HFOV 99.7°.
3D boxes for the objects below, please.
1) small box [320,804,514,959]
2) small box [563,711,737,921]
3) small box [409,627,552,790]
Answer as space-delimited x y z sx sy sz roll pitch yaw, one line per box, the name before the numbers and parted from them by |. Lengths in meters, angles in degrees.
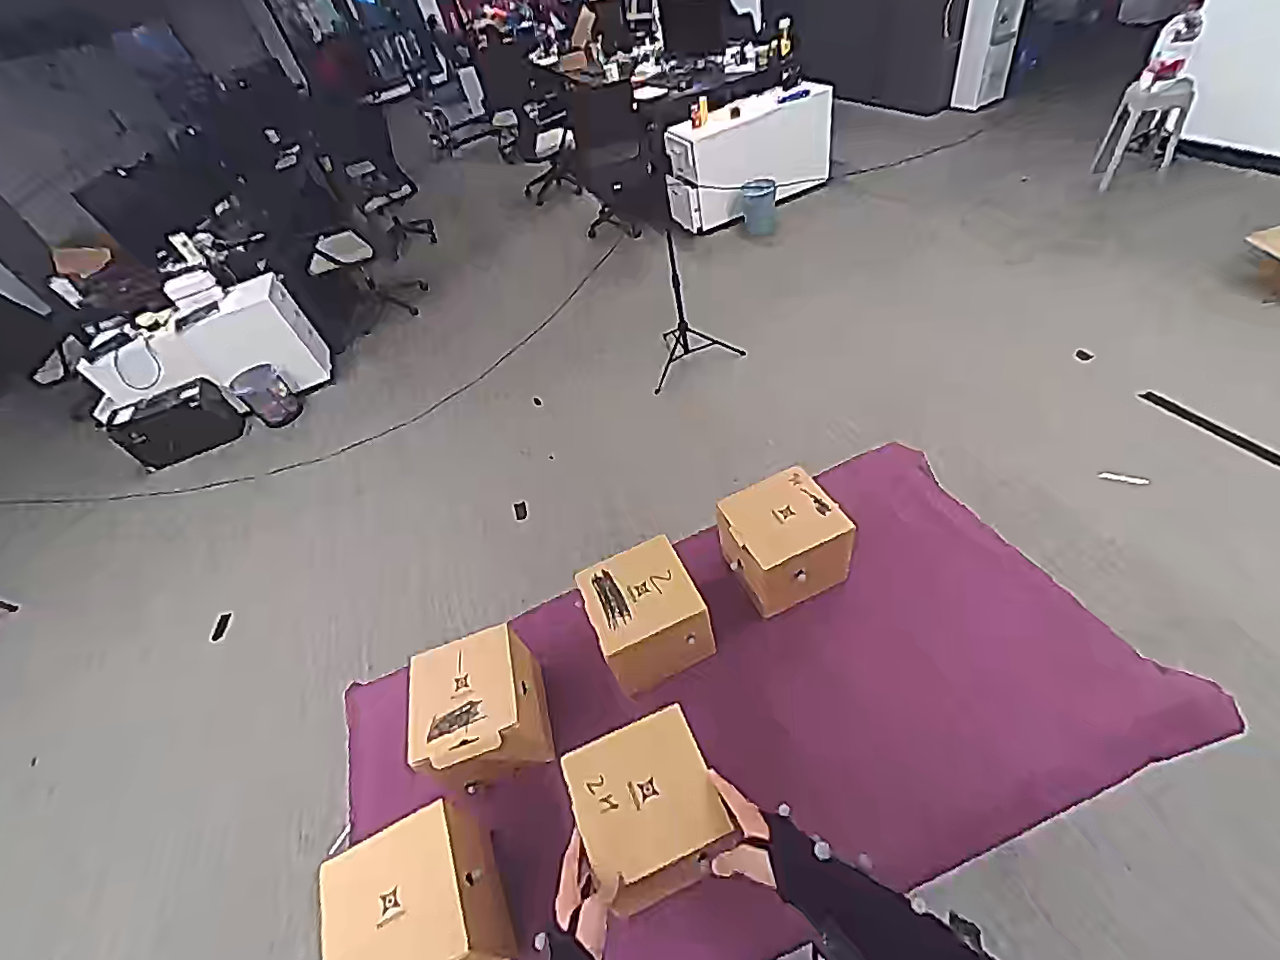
small box | -0.283 0.567 0.698 0.168 0.176 0.179 -25 47 -11
small box | 0.017 0.449 0.724 0.179 0.176 0.168 -22 45 -8
small box | -0.253 0.375 0.873 0.168 0.176 0.179 -19 46 -4
